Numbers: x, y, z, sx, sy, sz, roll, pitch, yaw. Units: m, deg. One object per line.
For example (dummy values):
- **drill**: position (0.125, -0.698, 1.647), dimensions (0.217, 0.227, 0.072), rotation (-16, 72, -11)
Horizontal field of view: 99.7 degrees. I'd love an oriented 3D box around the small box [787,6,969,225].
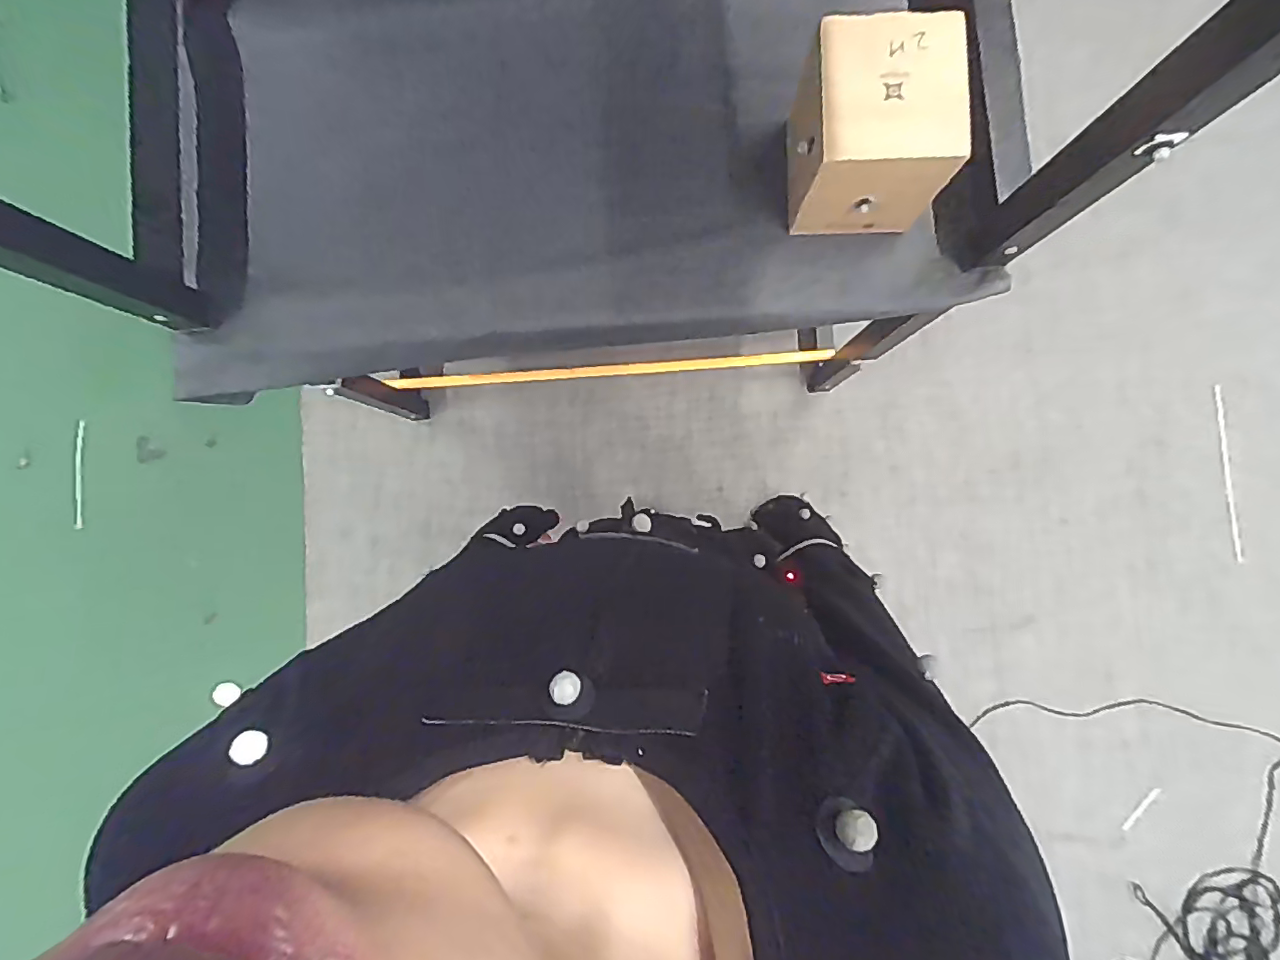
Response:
- **small box**: position (0.291, -0.448, 0.693), dimensions (0.168, 0.176, 0.179), rotation (0, 87, 1)
